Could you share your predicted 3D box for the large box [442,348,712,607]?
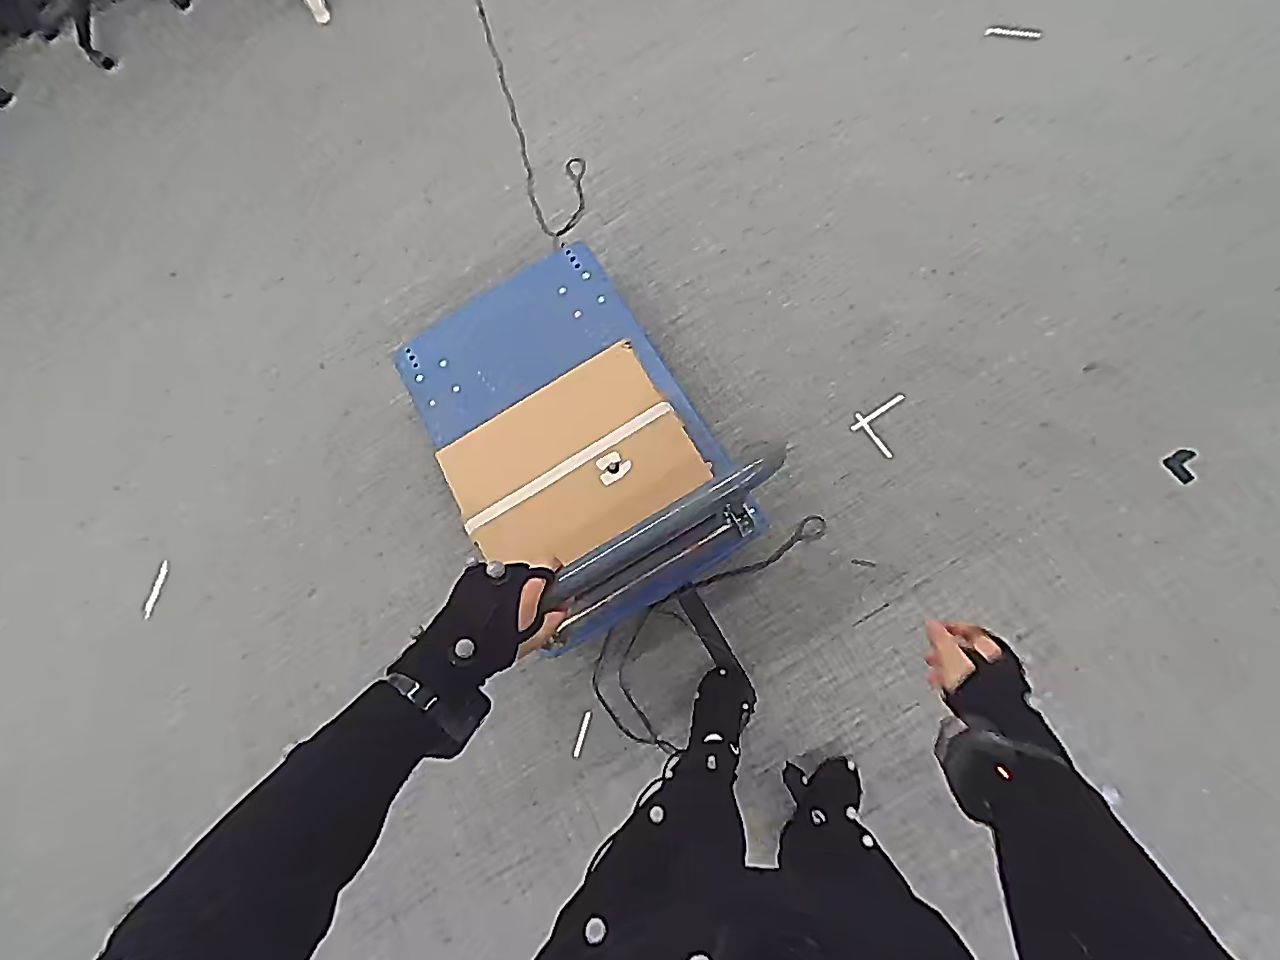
[{"bbox_3d":[-0.102,0.020,1.090,0.408,0.320,0.320,-32,76,0],"label":"large box"}]
